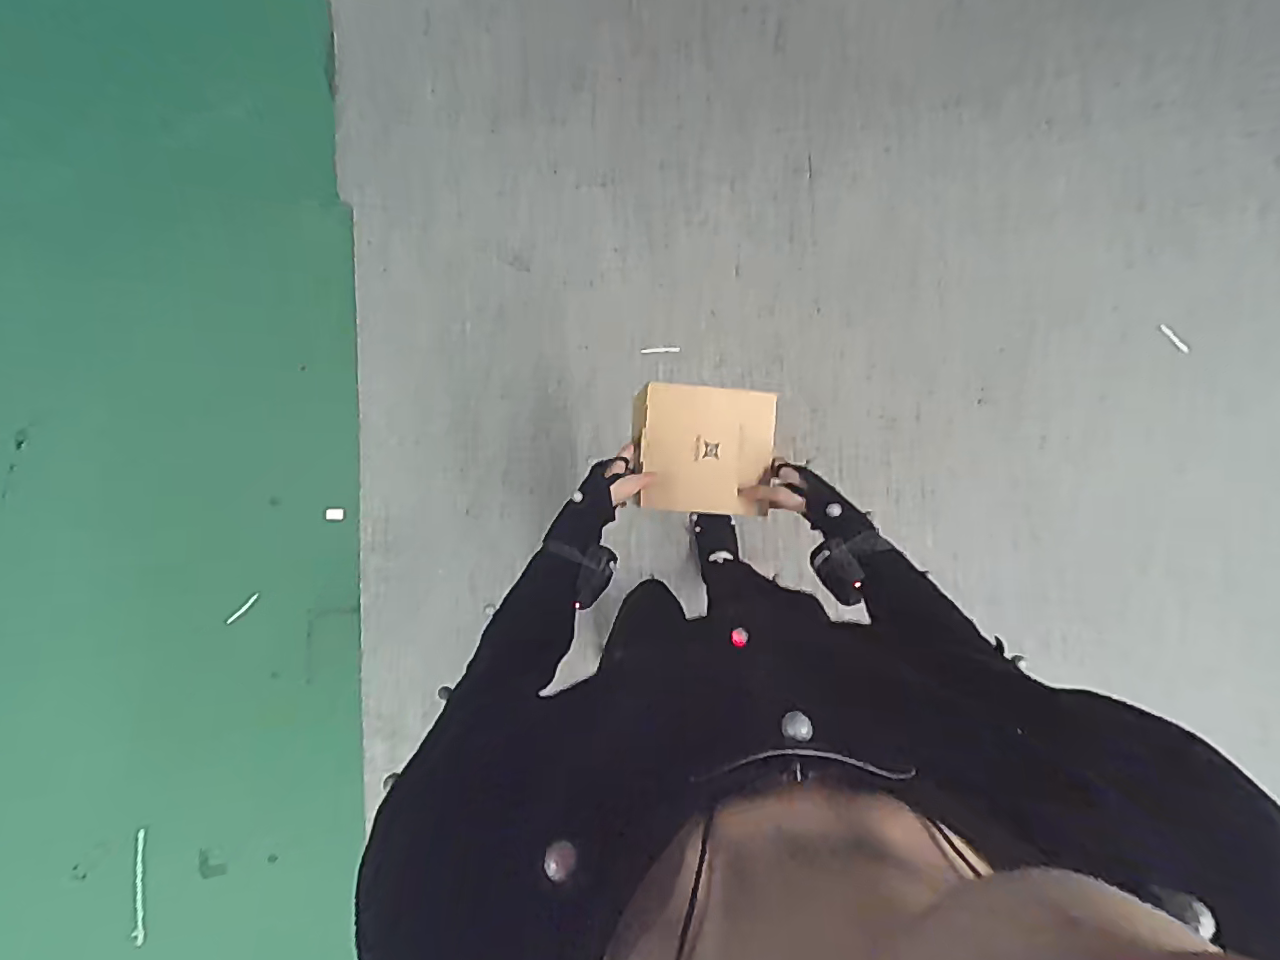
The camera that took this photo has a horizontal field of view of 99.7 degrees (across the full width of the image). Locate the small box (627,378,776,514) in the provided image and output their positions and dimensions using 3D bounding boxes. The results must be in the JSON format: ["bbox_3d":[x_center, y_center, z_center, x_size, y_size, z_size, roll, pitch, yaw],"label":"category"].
[{"bbox_3d":[0.077,-0.044,0.781,0.179,0.176,0.168,5,91,-7],"label":"small box"}]
